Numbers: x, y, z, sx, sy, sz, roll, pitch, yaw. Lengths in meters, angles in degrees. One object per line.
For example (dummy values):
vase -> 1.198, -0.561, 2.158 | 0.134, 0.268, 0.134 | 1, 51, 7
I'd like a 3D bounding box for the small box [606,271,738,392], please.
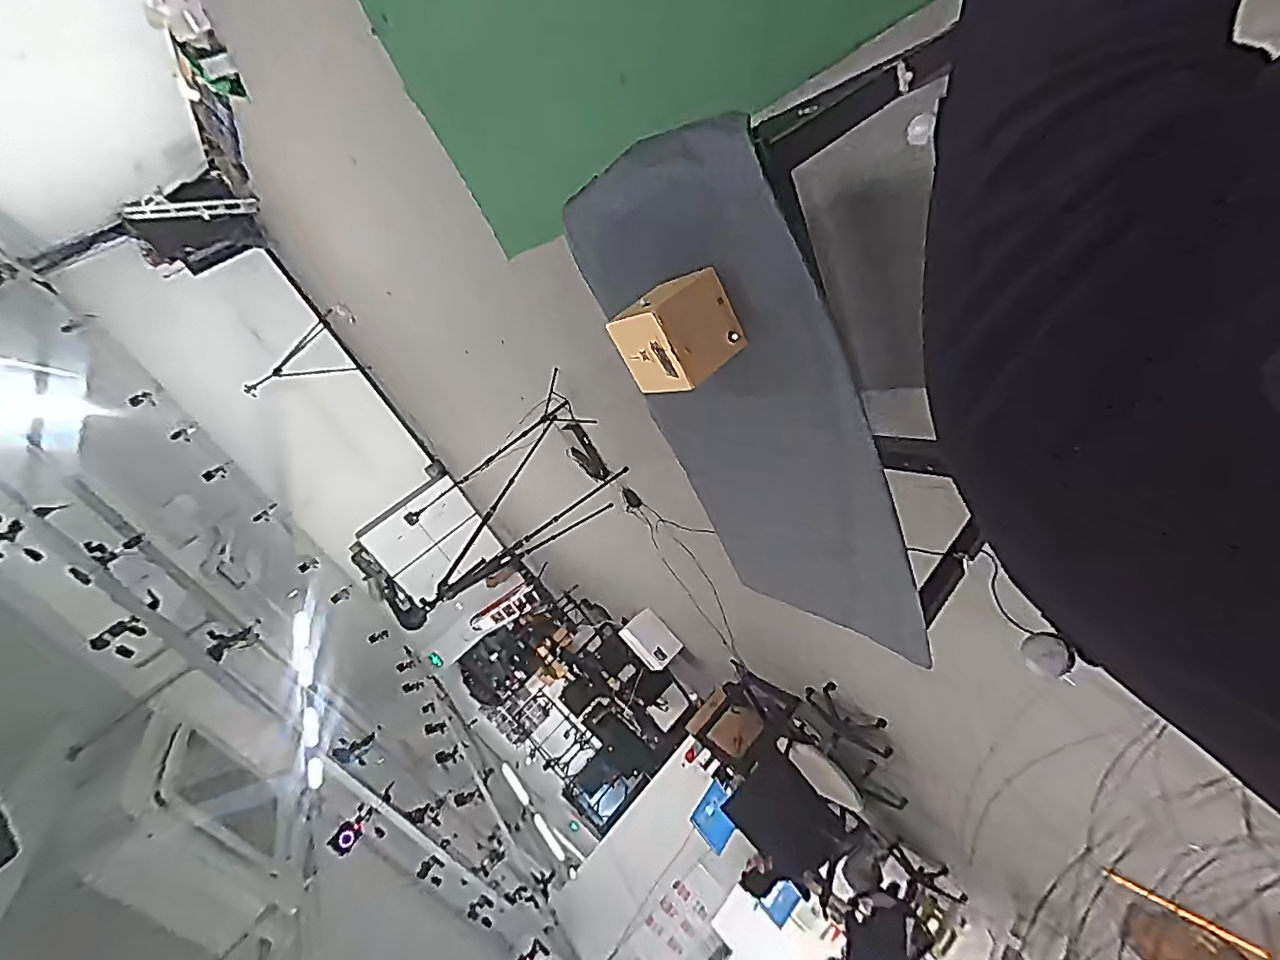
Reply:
small box -> 0.071, -0.291, 1.072 | 0.179, 0.176, 0.168 | 11, 138, 57
